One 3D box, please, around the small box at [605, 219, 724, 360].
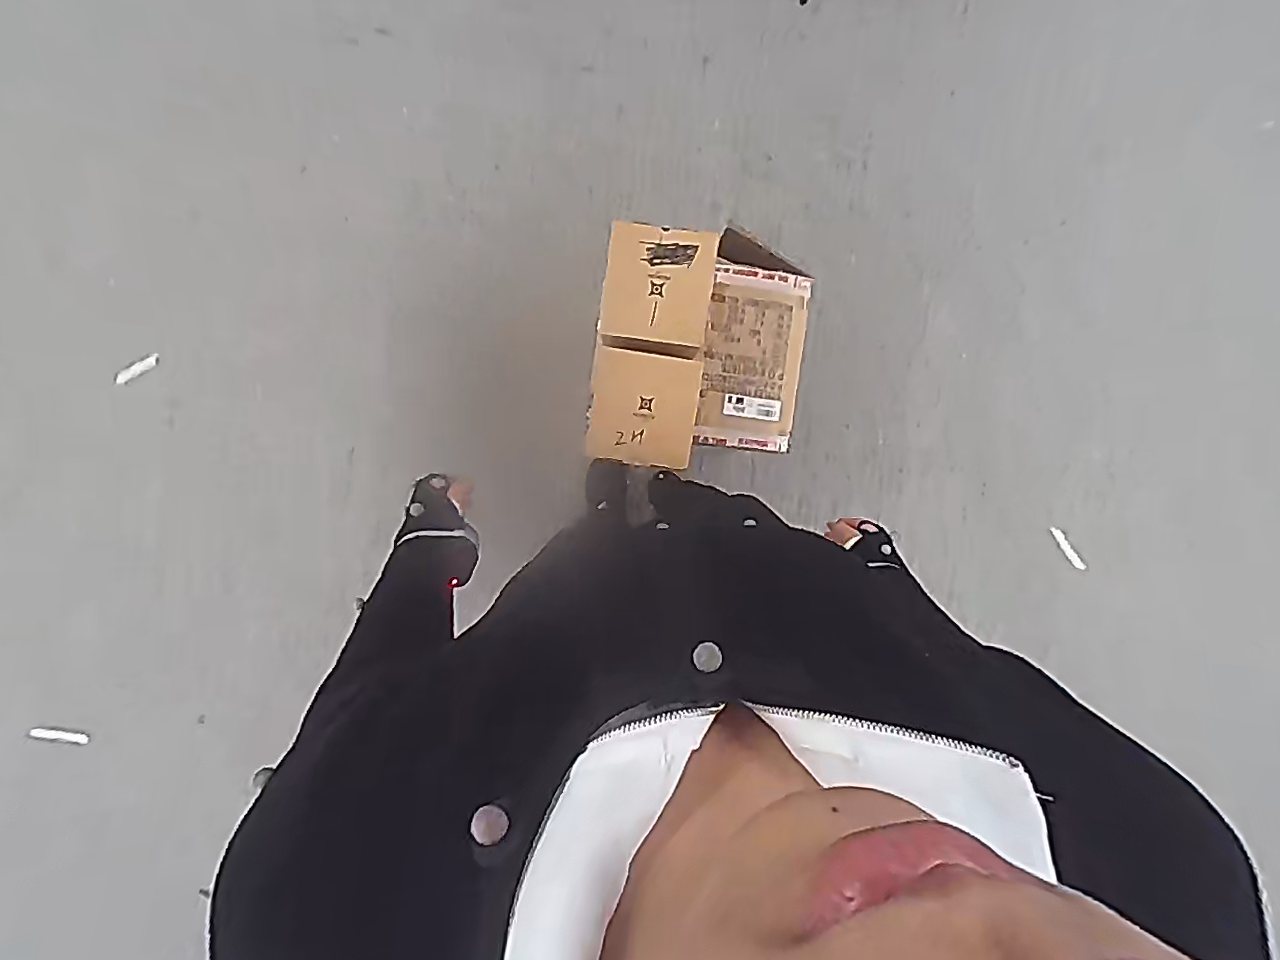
[{"bbox_3d":[0.036,-0.309,0.910,0.168,0.176,0.179,8,95,0],"label":"small box"}]
